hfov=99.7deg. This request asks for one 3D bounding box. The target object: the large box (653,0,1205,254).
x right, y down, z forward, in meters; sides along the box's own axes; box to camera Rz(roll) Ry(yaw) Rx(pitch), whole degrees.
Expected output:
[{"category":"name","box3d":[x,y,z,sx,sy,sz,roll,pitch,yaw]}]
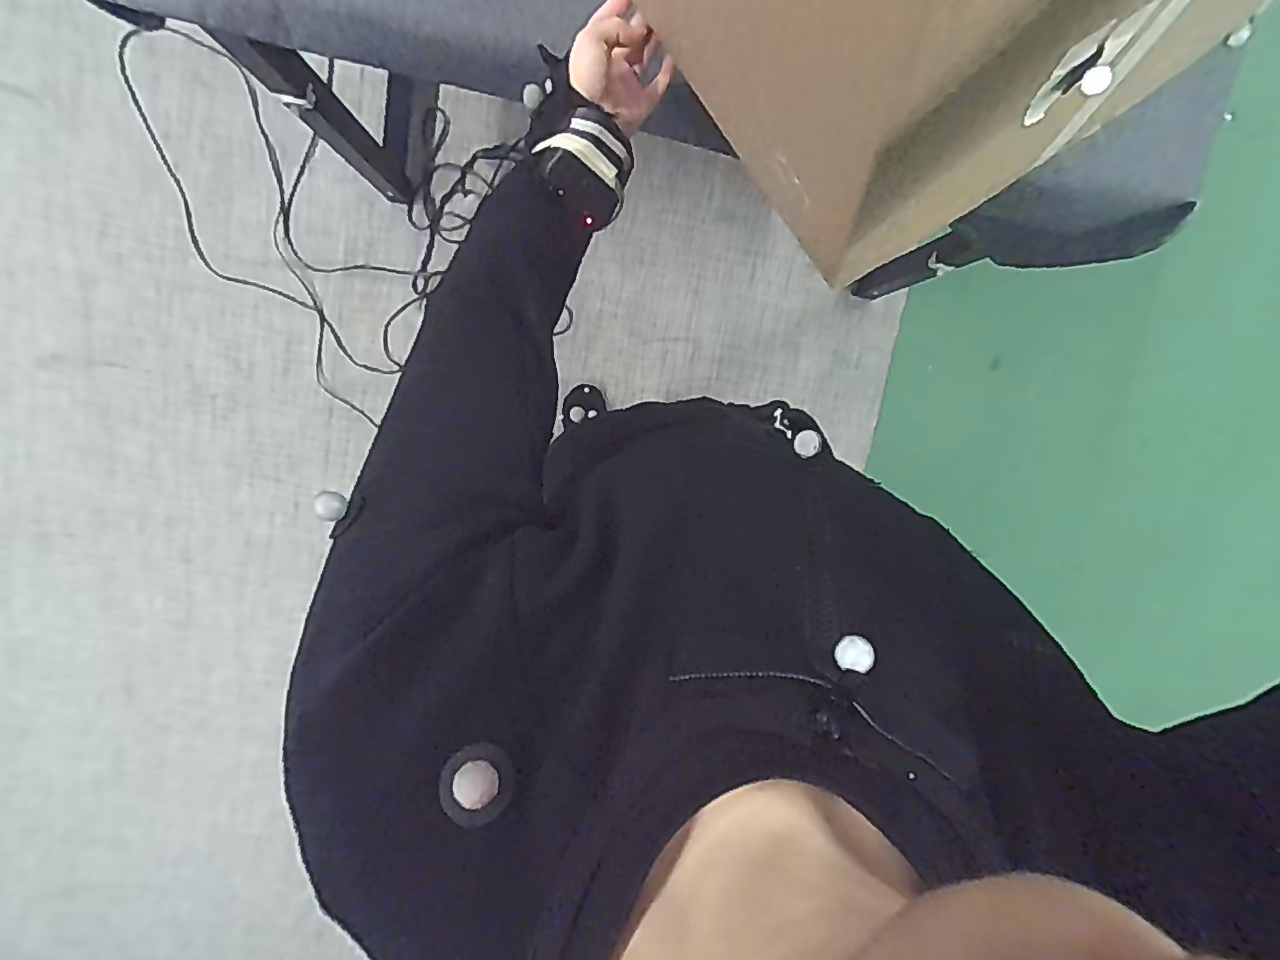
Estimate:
[{"category":"large box","box3d":[0.150,-0.374,0.210,0.320,0.408,0.320,-33,84,11]}]
